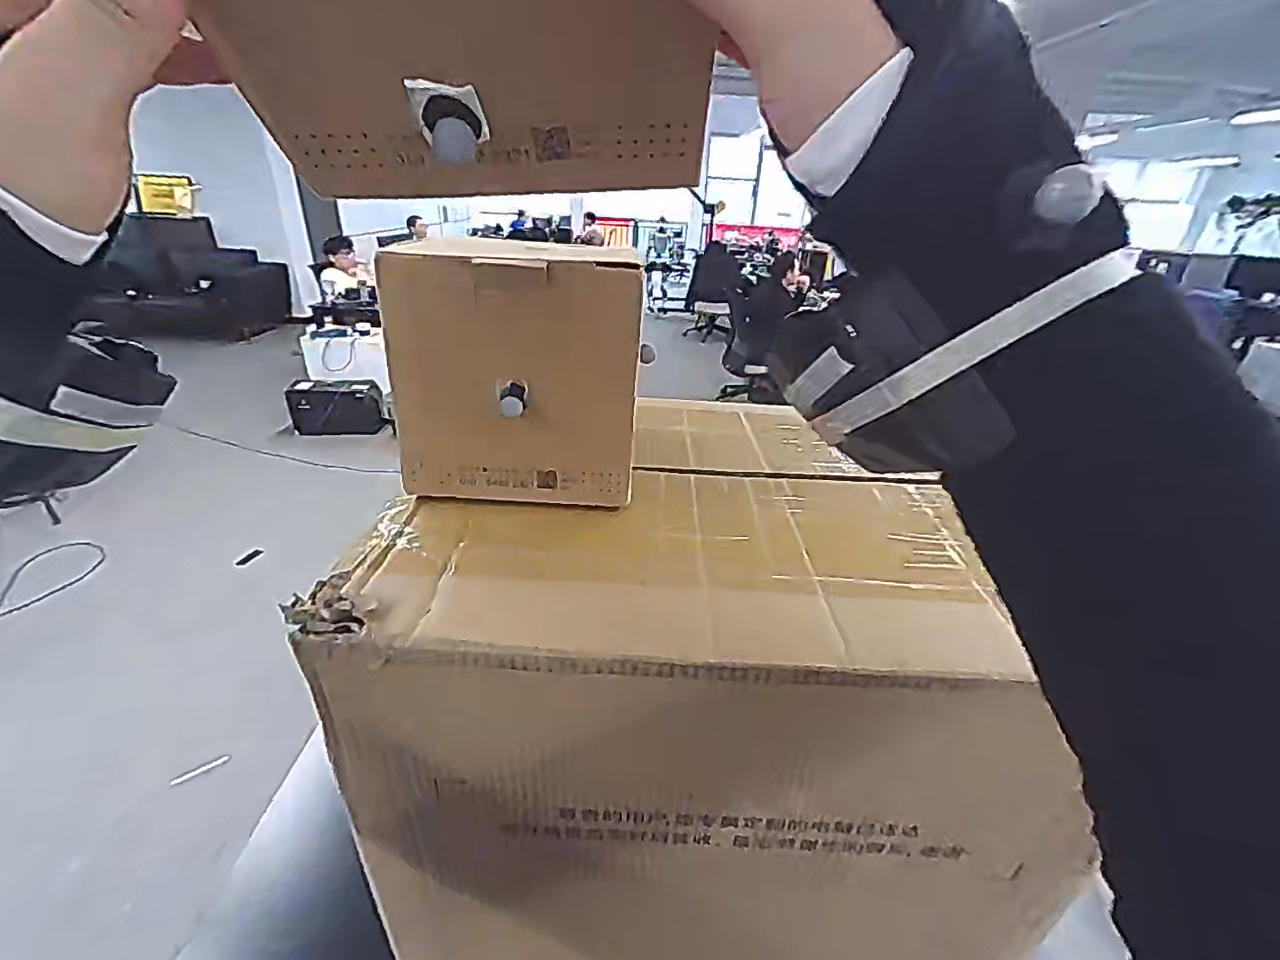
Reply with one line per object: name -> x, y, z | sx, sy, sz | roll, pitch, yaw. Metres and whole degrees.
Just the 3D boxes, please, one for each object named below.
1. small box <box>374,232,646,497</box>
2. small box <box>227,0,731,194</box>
small box -> -0.081, -0.097, 0.430 | 0.168, 0.176, 0.179 | 3, 27, -2
small box -> -0.057, -0.232, 0.182 | 0.168, 0.176, 0.179 | -4, 72, 0
